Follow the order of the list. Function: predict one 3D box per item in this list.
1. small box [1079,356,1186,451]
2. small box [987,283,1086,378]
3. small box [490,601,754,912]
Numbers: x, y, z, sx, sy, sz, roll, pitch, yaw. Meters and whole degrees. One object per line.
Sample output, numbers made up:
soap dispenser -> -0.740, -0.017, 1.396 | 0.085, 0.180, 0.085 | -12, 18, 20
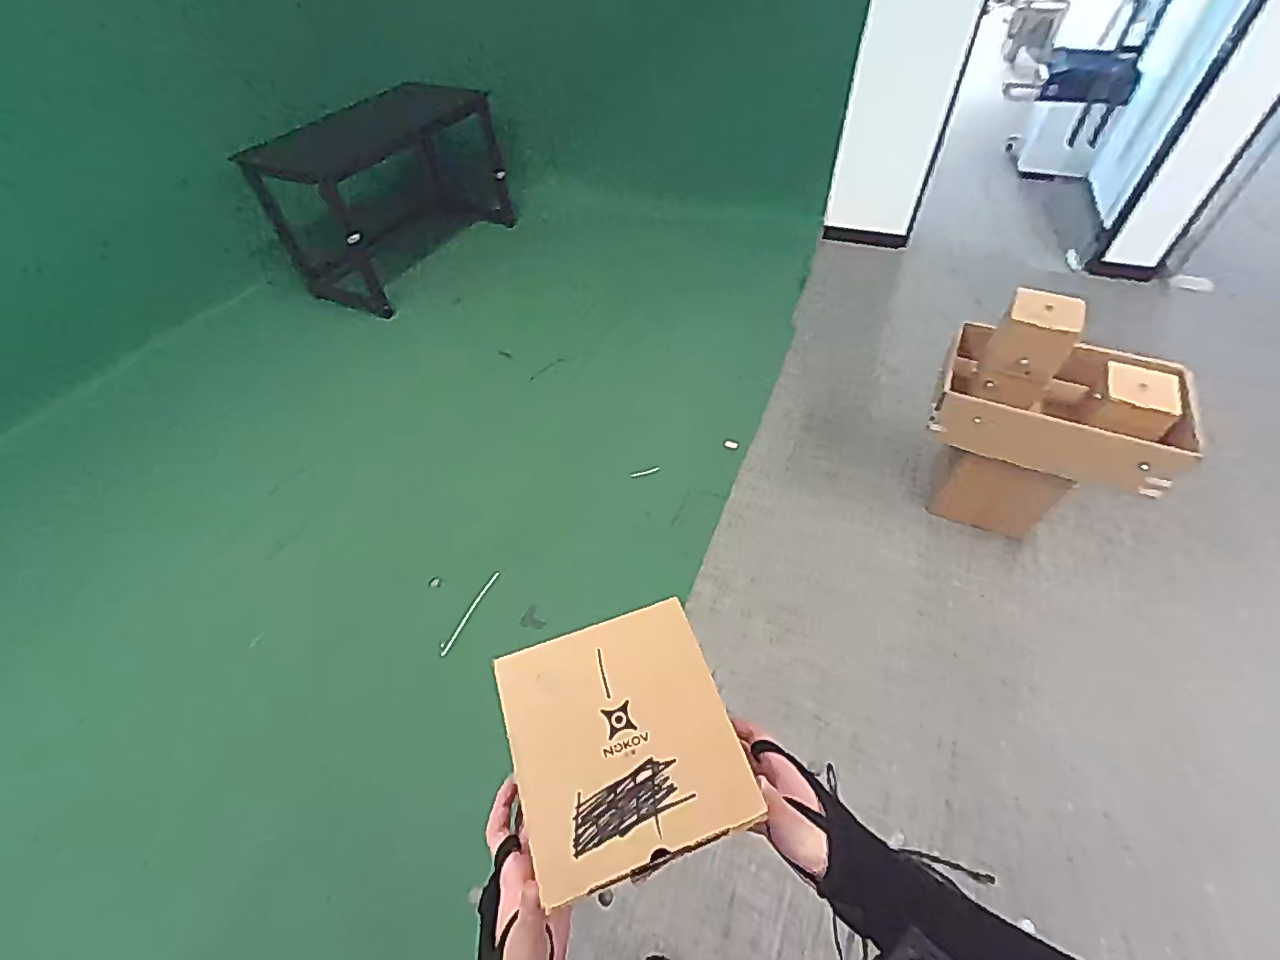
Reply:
small box -> 1.385, -0.216, 1.533 | 0.168, 0.176, 0.179 | 20, 56, 19
small box -> 1.098, -0.414, 1.505 | 0.168, 0.176, 0.179 | 21, 55, 21
small box -> -0.018, 0.238, 0.476 | 0.168, 0.176, 0.179 | -16, 56, -10
